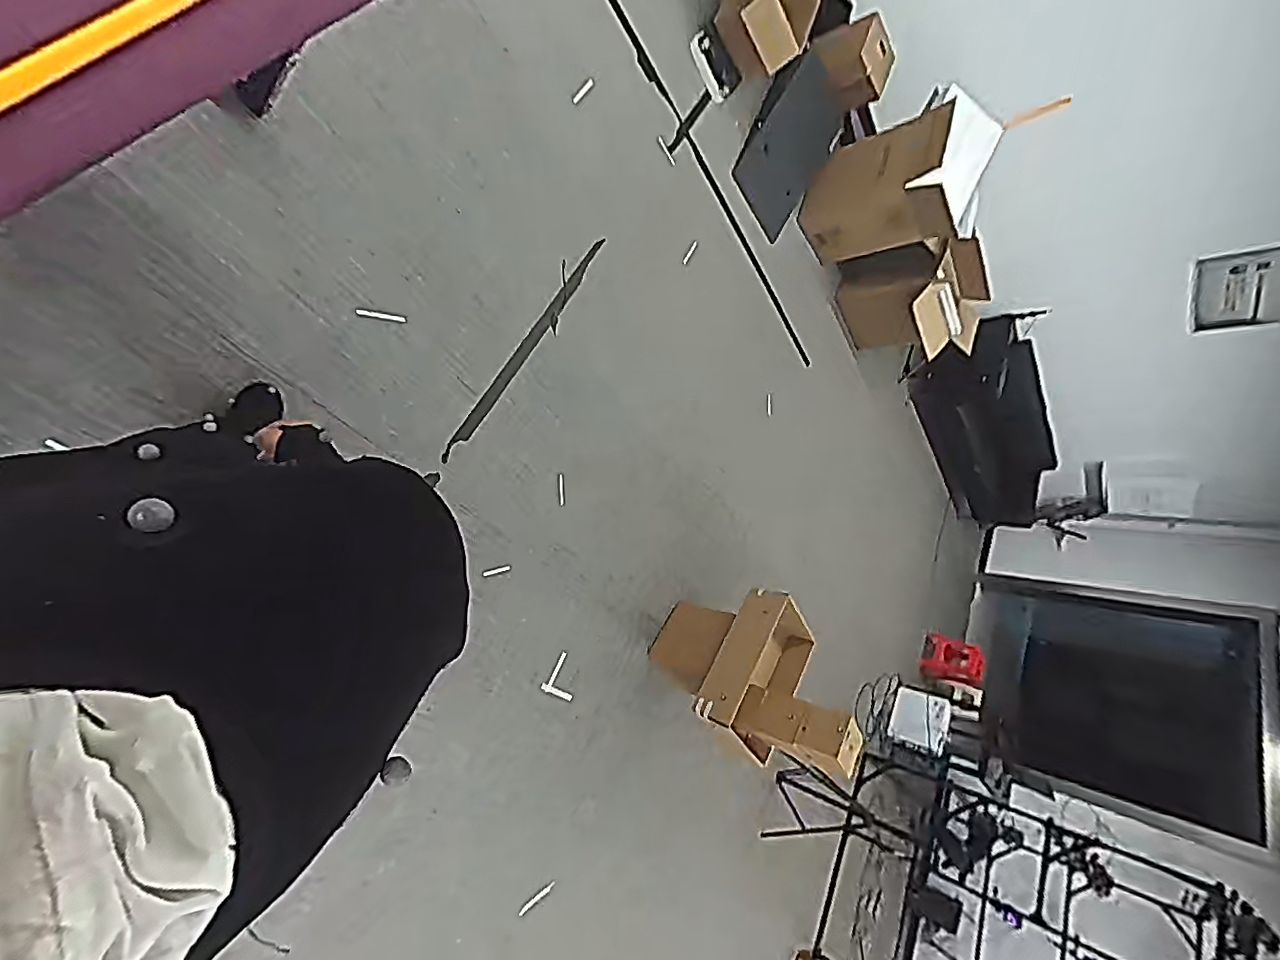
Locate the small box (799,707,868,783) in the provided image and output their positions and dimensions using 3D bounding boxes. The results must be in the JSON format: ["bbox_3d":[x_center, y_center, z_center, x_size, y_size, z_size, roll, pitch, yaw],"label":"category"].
[{"bbox_3d":[0.707,0.960,1.975,0.168,0.176,0.179,-54,128,-31],"label":"small box"}]

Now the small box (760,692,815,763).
[{"bbox_3d":[0.587,0.950,2.087,0.168,0.176,0.179,52,57,-34],"label":"small box"}]
